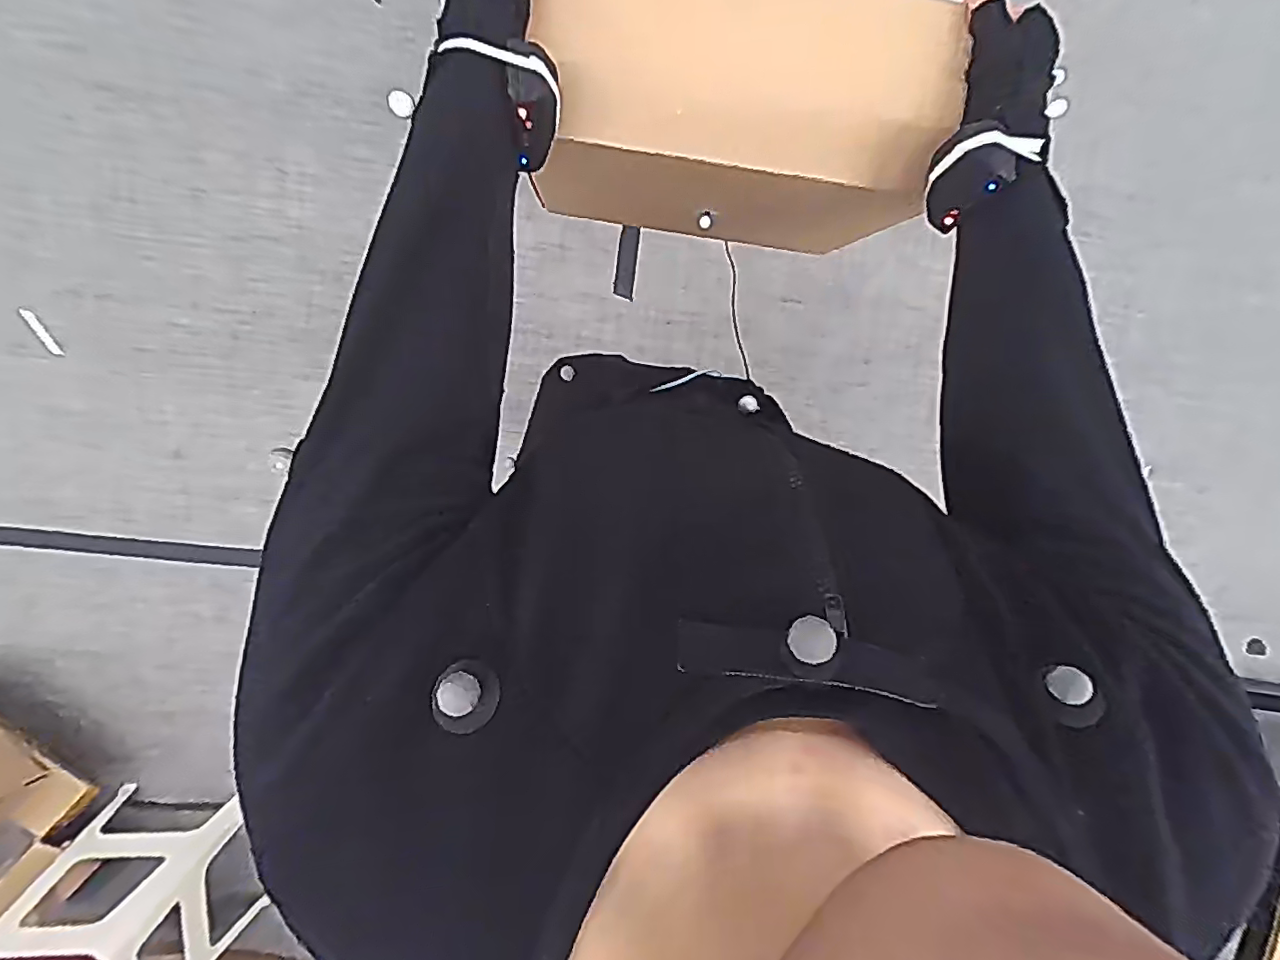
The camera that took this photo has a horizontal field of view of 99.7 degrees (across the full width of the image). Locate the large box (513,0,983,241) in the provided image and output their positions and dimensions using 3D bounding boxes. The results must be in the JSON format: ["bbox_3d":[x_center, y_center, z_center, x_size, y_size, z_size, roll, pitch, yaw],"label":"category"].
[{"bbox_3d":[0.095,-0.471,0.595,0.408,0.320,0.320,6,103,-5],"label":"large box"}]
